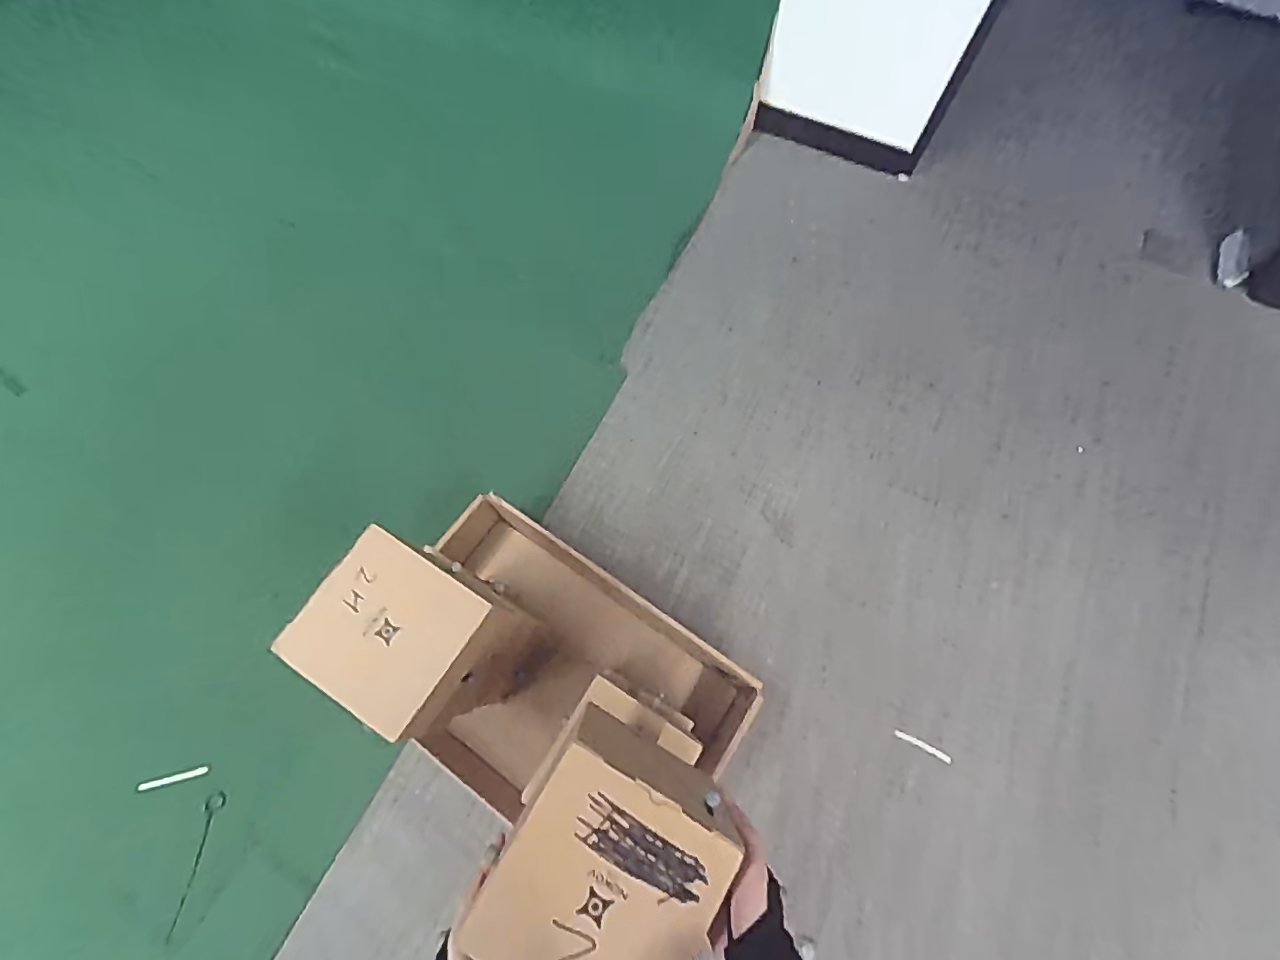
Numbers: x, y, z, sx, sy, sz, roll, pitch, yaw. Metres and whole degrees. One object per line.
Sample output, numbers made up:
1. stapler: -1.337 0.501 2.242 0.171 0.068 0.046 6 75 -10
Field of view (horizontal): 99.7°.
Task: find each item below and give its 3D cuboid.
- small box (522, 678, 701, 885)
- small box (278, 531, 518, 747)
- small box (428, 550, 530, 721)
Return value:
1. small box: -0.033 0.401 0.753 0.168 0.176 0.179 32 71 11
2. small box: -0.272 0.189 0.658 0.179 0.176 0.168 32 73 10
3. small box: -0.284 0.235 0.817 0.168 0.176 0.179 33 74 10
